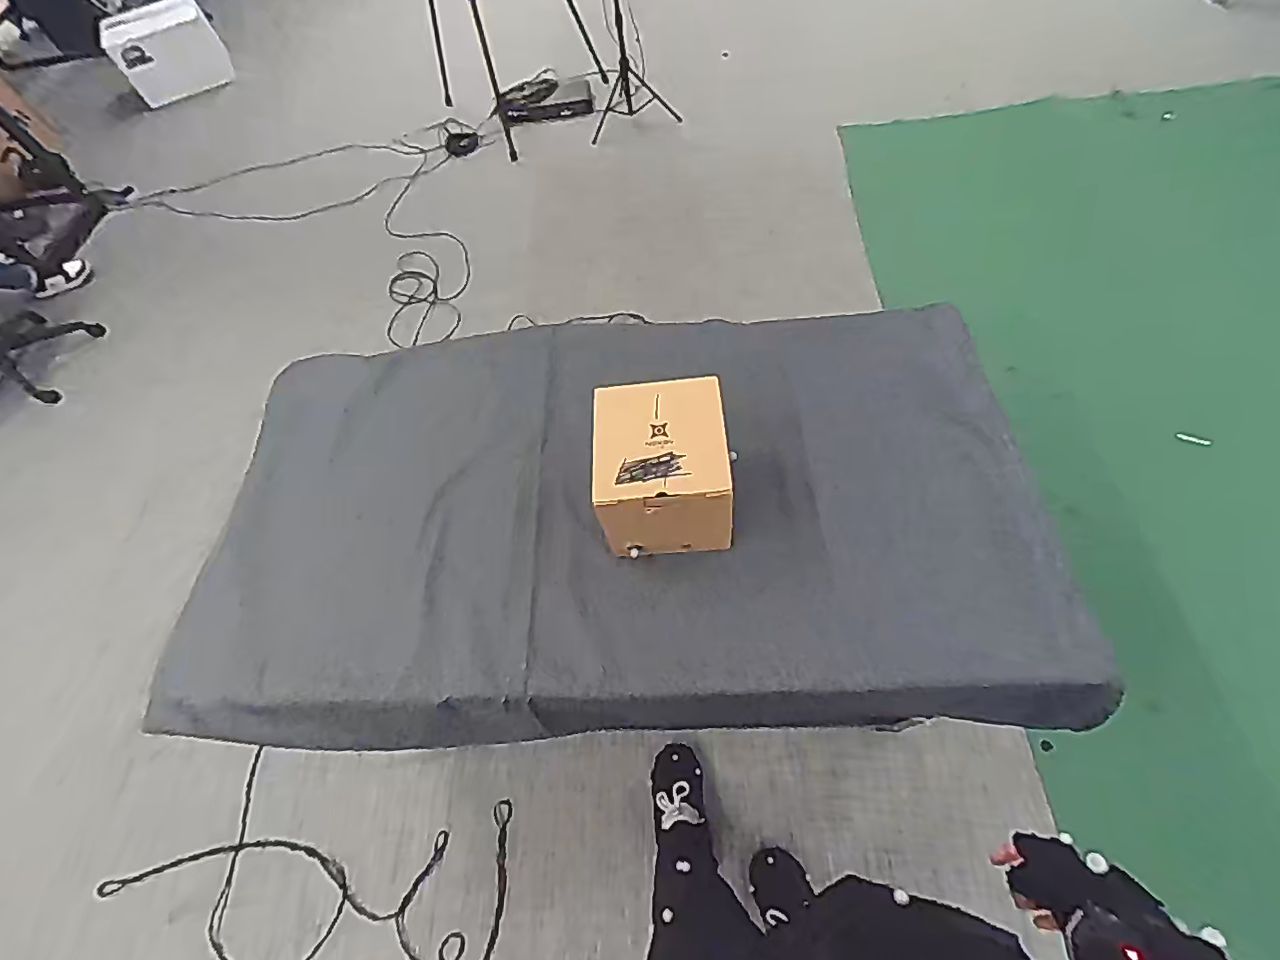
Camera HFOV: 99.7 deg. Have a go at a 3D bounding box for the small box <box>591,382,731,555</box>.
[{"bbox_3d":[0.033,-0.006,0.732,0.168,0.176,0.179,-5,58,6],"label":"small box"}]
